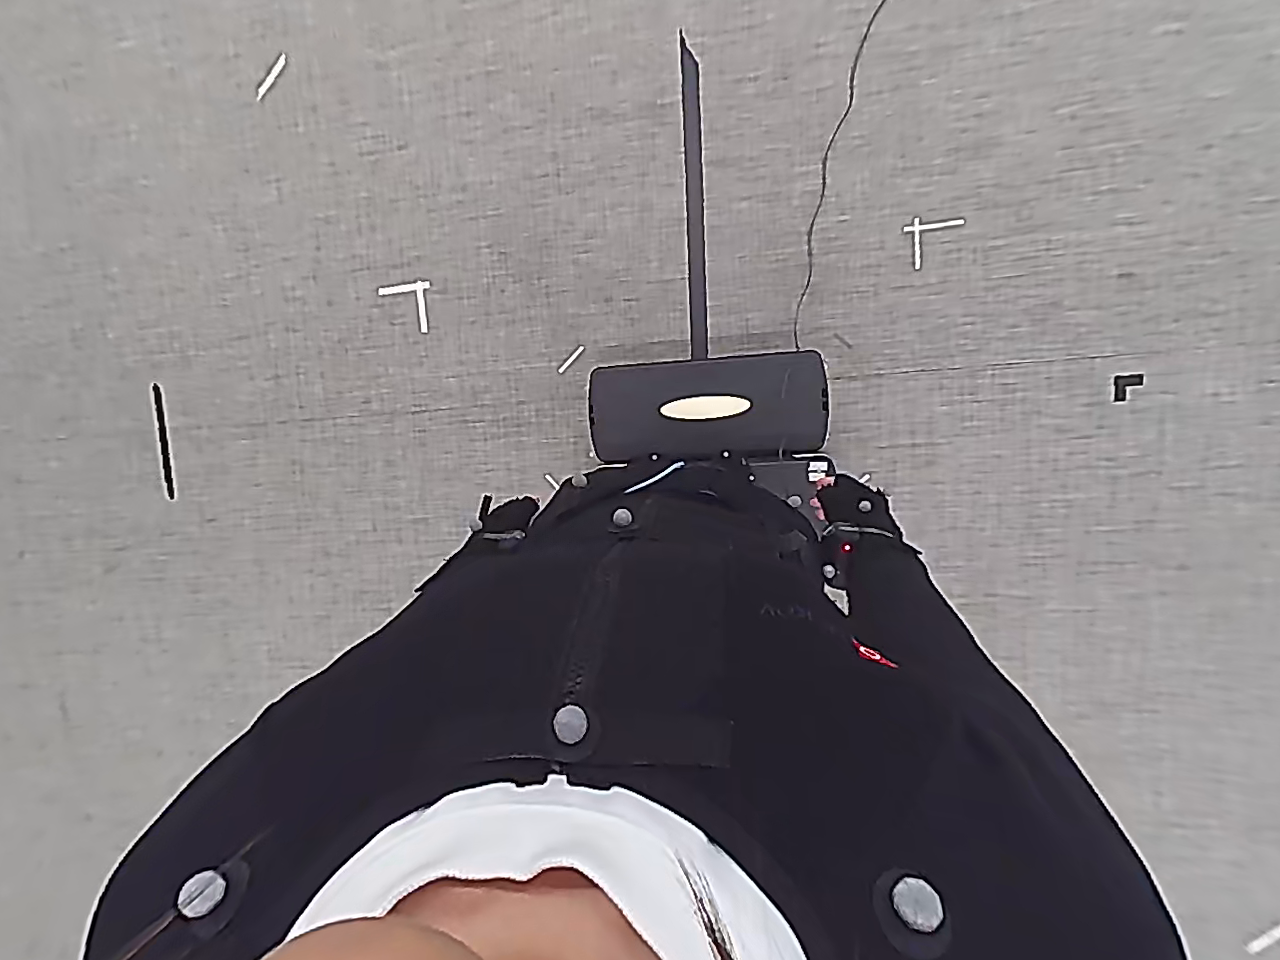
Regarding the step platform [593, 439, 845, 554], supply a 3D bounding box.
[{"bbox_3d":[0.211,0.048,1.519,0.684,0.204,0.286,-4,93,9],"label":"step platform"}]
